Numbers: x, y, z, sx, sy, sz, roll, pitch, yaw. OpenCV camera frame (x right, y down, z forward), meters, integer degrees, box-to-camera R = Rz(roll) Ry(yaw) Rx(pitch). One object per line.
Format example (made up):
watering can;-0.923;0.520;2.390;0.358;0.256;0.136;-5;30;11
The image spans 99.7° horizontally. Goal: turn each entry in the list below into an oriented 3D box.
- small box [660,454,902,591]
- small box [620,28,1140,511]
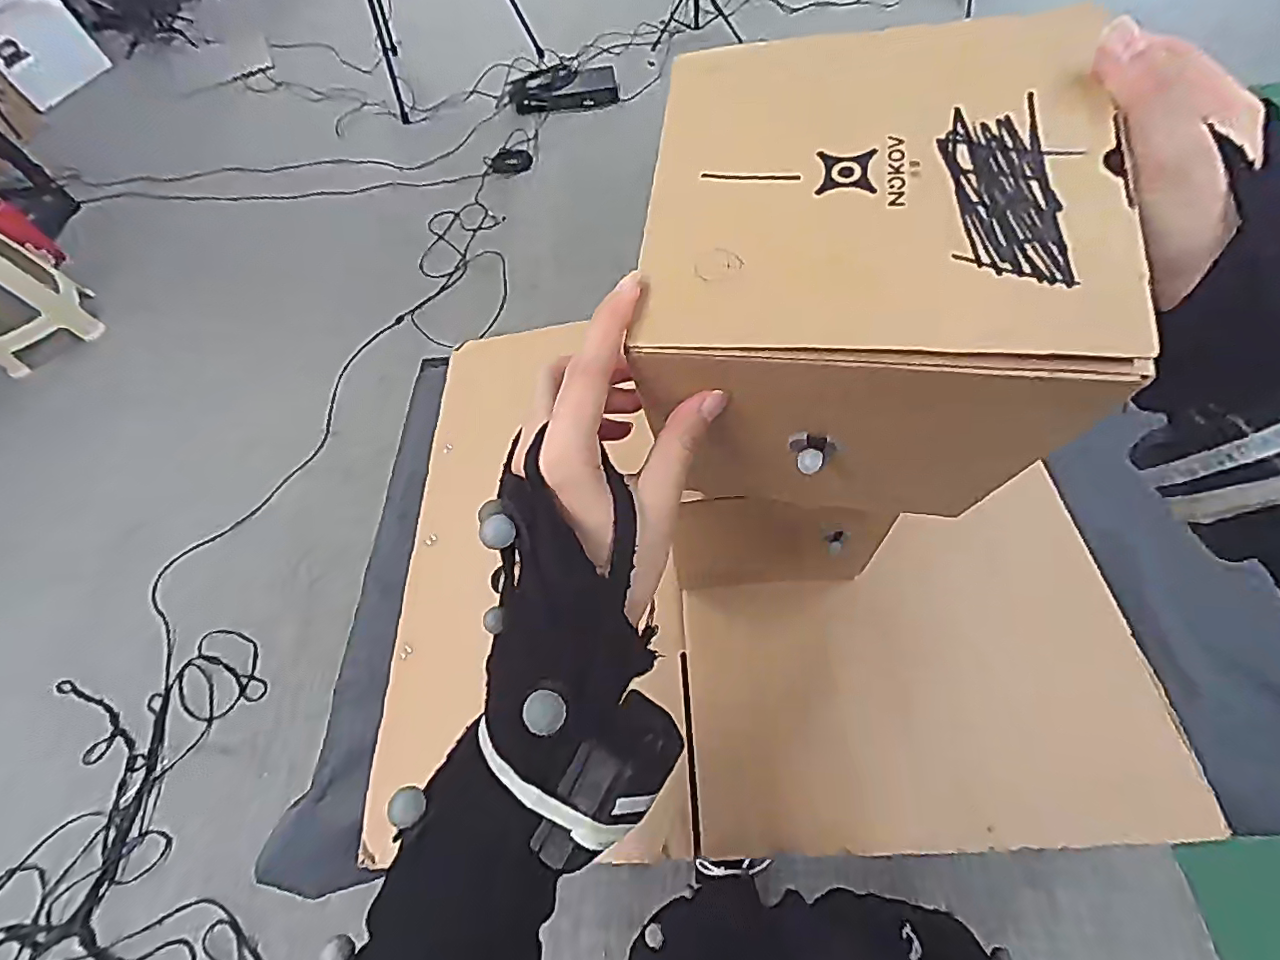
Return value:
small box;0.108;-0.012;0.481;0.179;0.176;0.168;-6;57;4
small box;0.103;-0.088;0.288;0.179;0.176;0.168;5;71;13
